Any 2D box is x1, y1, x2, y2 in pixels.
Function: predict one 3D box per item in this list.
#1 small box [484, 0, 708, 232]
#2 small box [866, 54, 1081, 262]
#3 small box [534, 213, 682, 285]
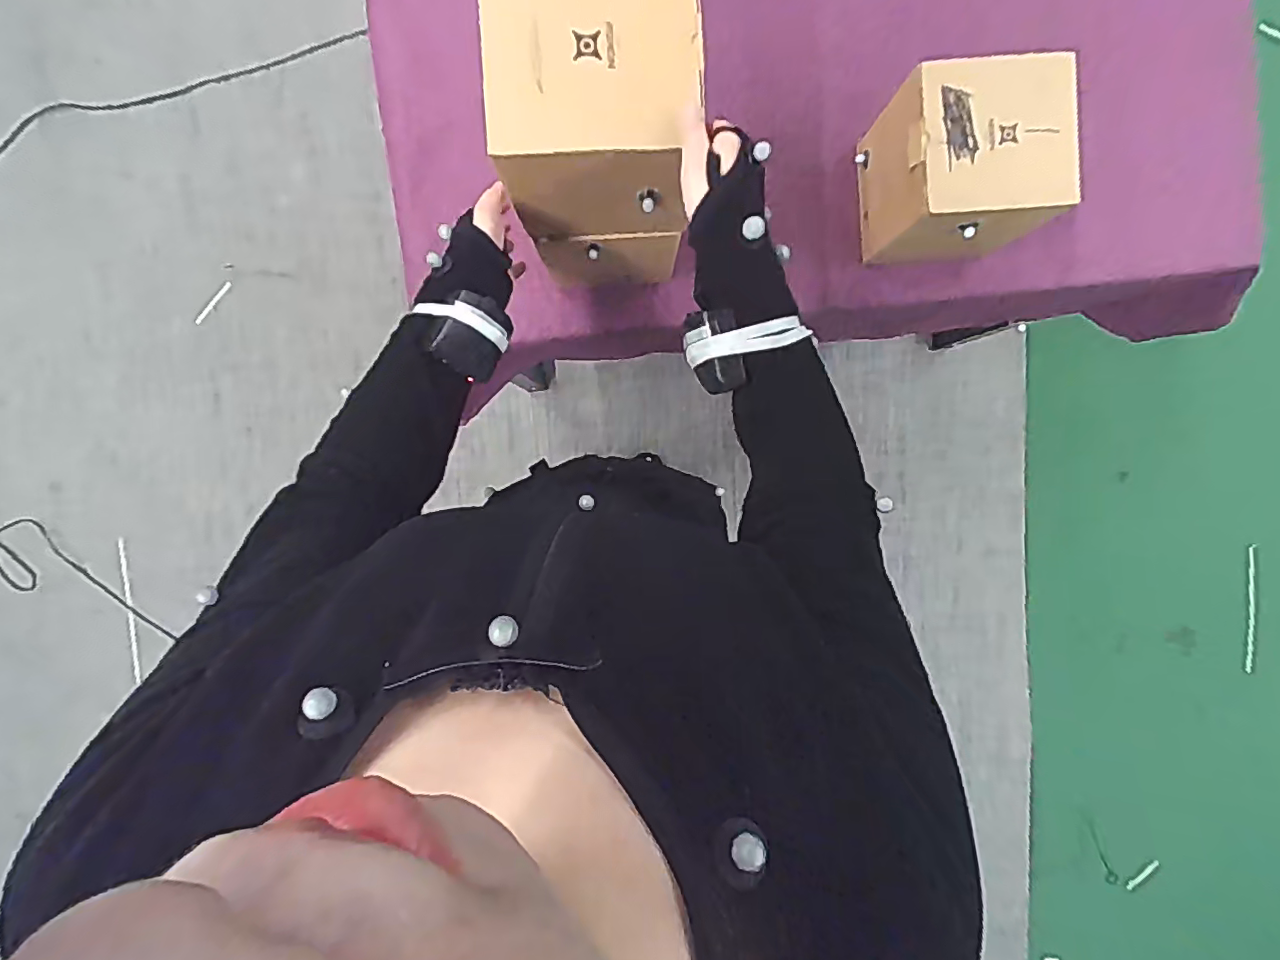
[{"bbox_3d":[-0.036,-0.347,0.506,0.179,0.176,0.168,-2,93,0],"label":"small box"},{"bbox_3d":[0.396,-0.384,0.674,0.179,0.176,0.168,-4,94,-1],"label":"small box"},{"bbox_3d":[-0.039,-0.357,0.669,0.168,0.176,0.179,-3,93,0],"label":"small box"}]
